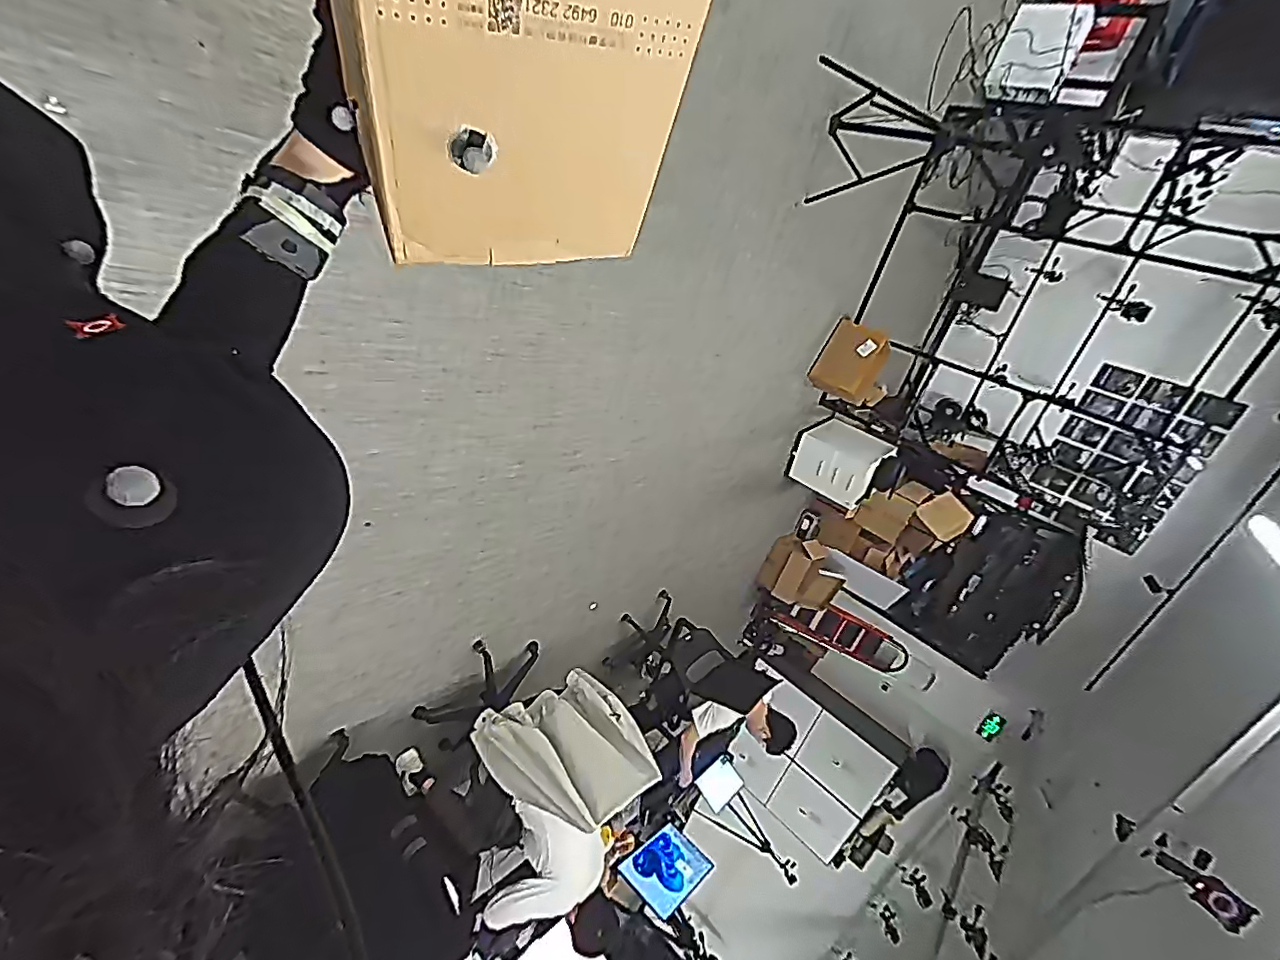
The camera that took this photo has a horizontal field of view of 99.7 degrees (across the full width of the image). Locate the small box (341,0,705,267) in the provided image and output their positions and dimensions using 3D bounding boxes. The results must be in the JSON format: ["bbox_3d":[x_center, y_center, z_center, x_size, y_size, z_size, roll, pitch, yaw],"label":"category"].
[{"bbox_3d":[-0.080,-0.257,0.324,0.168,0.179,0.176,-12,156,-26],"label":"small box"}]
